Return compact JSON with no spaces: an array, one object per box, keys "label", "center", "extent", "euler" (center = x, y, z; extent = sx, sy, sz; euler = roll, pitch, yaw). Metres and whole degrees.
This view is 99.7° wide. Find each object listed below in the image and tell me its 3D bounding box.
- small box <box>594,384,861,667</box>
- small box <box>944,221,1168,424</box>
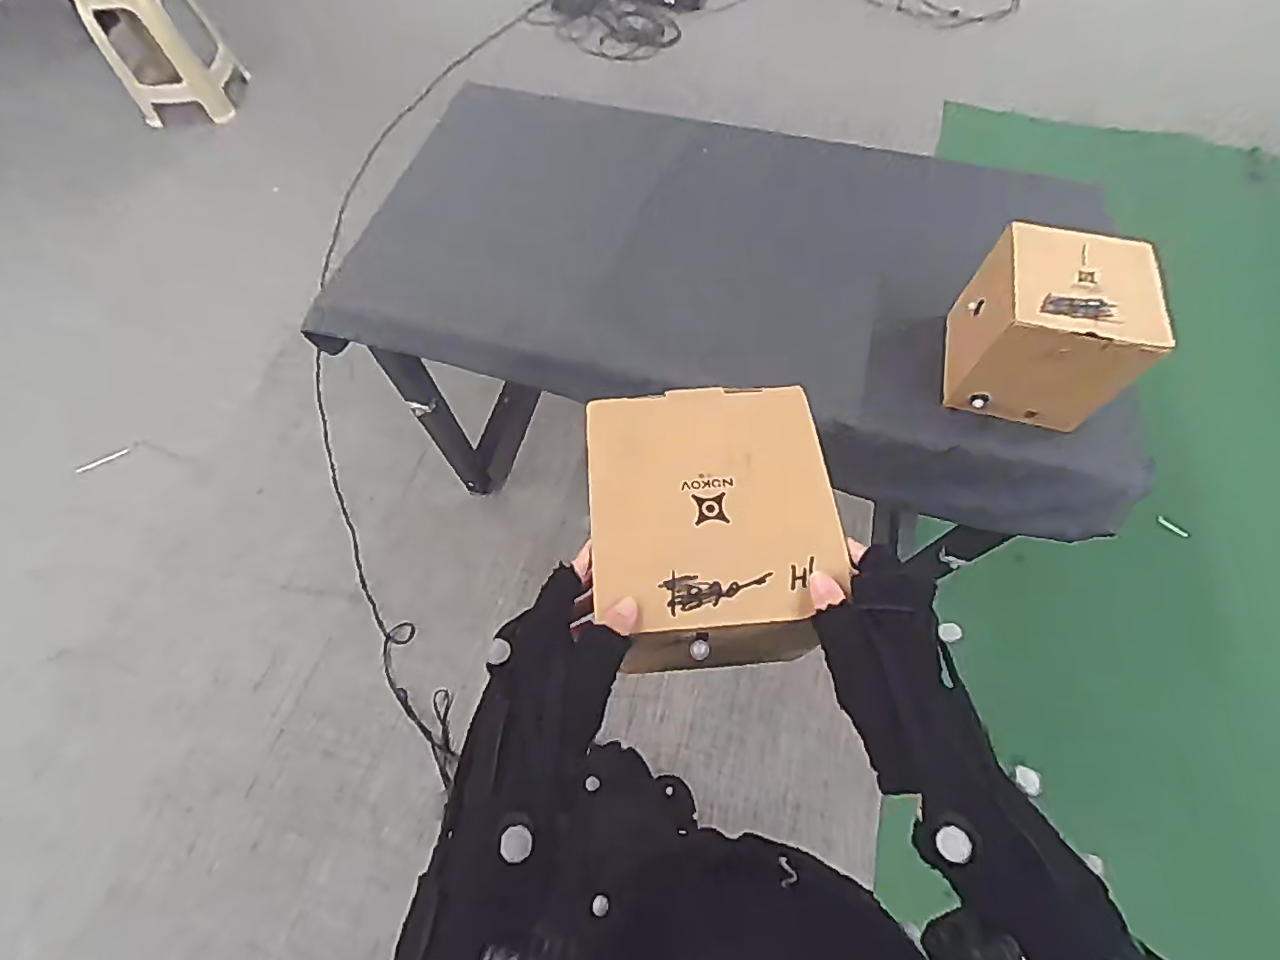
[{"label":"small box","center":[0.051,0.045,0.440],"extent":[0.168,0.176,0.179],"euler":[-4,63,-1]},{"label":"small box","center":[0.520,-0.197,0.705],"extent":[0.168,0.176,0.179],"euler":[14,64,7]}]
